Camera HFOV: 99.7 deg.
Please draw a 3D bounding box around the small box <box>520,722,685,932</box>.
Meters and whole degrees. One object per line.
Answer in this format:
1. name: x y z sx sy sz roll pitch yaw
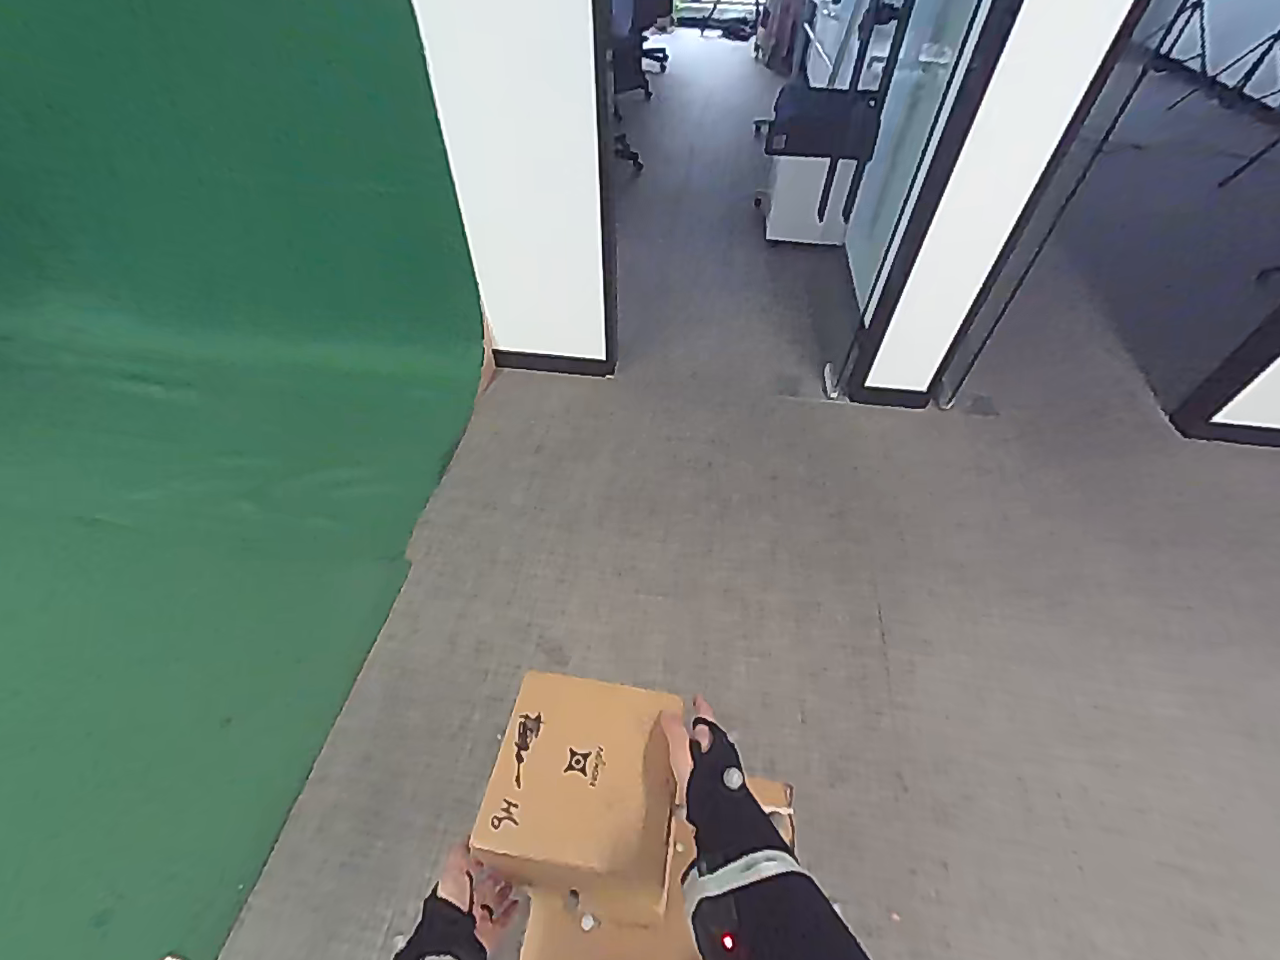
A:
1. small box: -0.041 0.446 0.697 0.168 0.176 0.179 8 46 7
